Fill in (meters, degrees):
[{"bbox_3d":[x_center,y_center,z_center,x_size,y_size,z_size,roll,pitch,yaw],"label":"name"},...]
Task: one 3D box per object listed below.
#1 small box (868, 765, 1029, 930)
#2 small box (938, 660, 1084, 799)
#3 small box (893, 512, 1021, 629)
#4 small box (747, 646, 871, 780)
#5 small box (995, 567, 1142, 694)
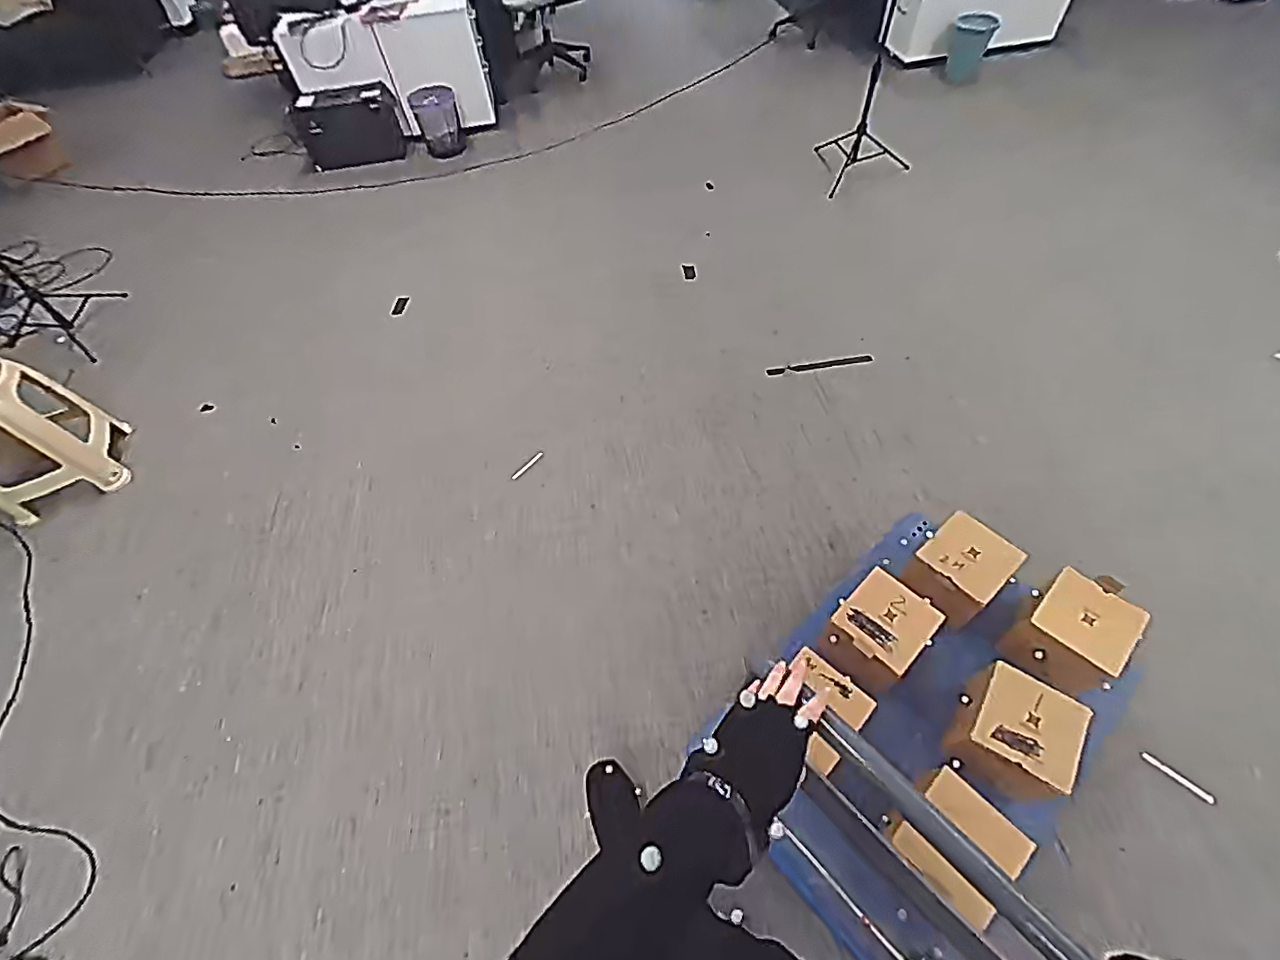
[{"bbox_3d":[0.538,0.654,0.973,0.179,0.176,0.168,-37,61,-20],"label":"small box"},{"bbox_3d":[0.719,0.496,1.067,0.168,0.176,0.179,29,62,22],"label":"small box"},{"bbox_3d":[0.726,0.214,1.260,0.179,0.176,0.168,-37,60,-18],"label":"small box"},{"bbox_3d":[0.334,0.482,1.106,0.168,0.176,0.179,38,66,25],"label":"small box"},{"bbox_3d":[0.909,0.329,1.168,0.168,0.176,0.179,38,66,26],"label":"small box"}]
